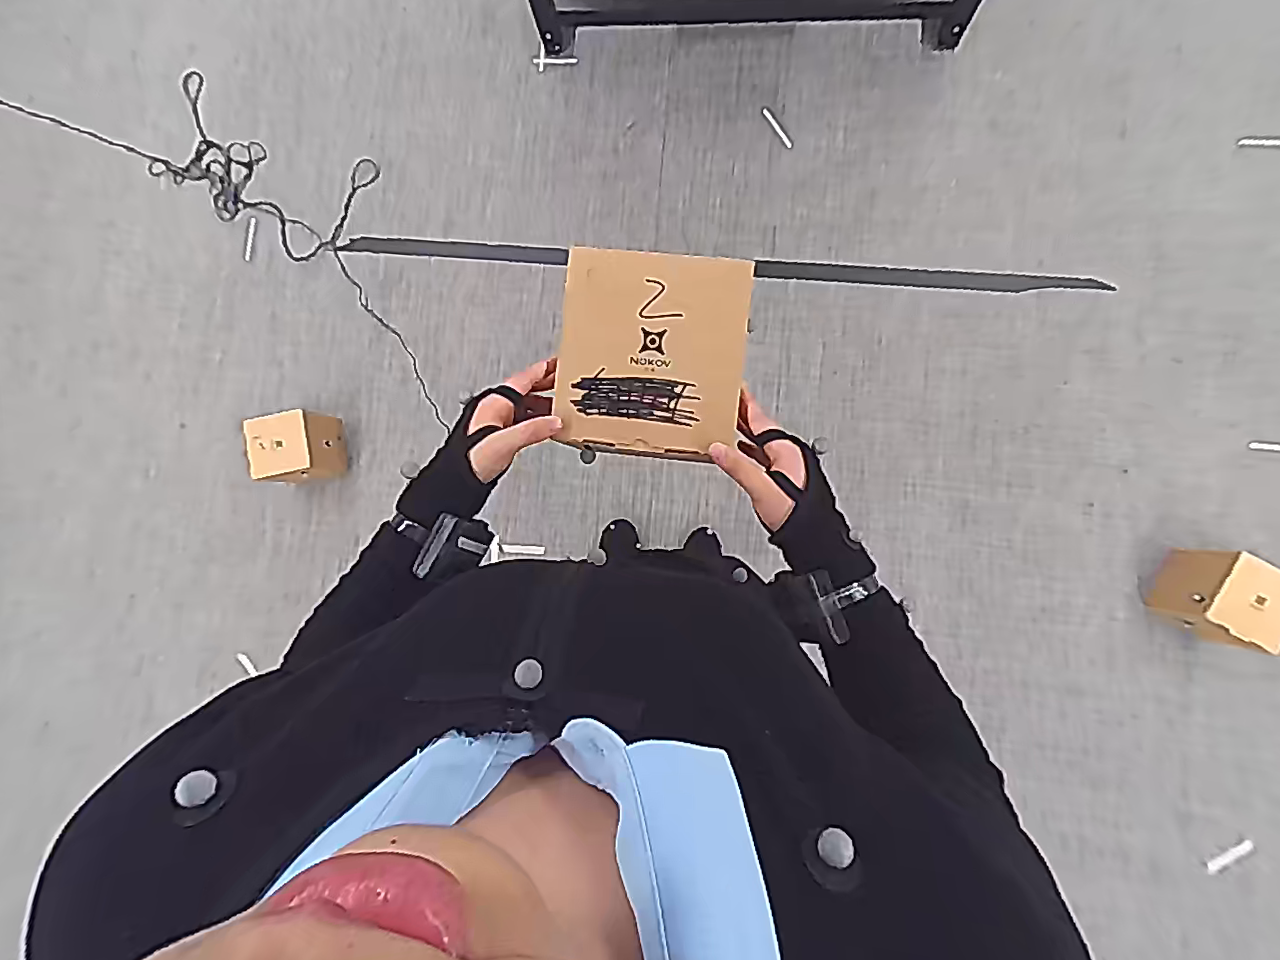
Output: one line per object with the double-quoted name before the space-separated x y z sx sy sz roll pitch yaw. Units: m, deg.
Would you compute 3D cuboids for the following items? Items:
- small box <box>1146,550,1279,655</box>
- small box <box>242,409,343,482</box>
"small box" 1.377 0.279 1.286 0.168 0.176 0.179 30 89 6
"small box" -0.969 -0.092 1.526 0.179 0.176 0.168 -11 85 5
